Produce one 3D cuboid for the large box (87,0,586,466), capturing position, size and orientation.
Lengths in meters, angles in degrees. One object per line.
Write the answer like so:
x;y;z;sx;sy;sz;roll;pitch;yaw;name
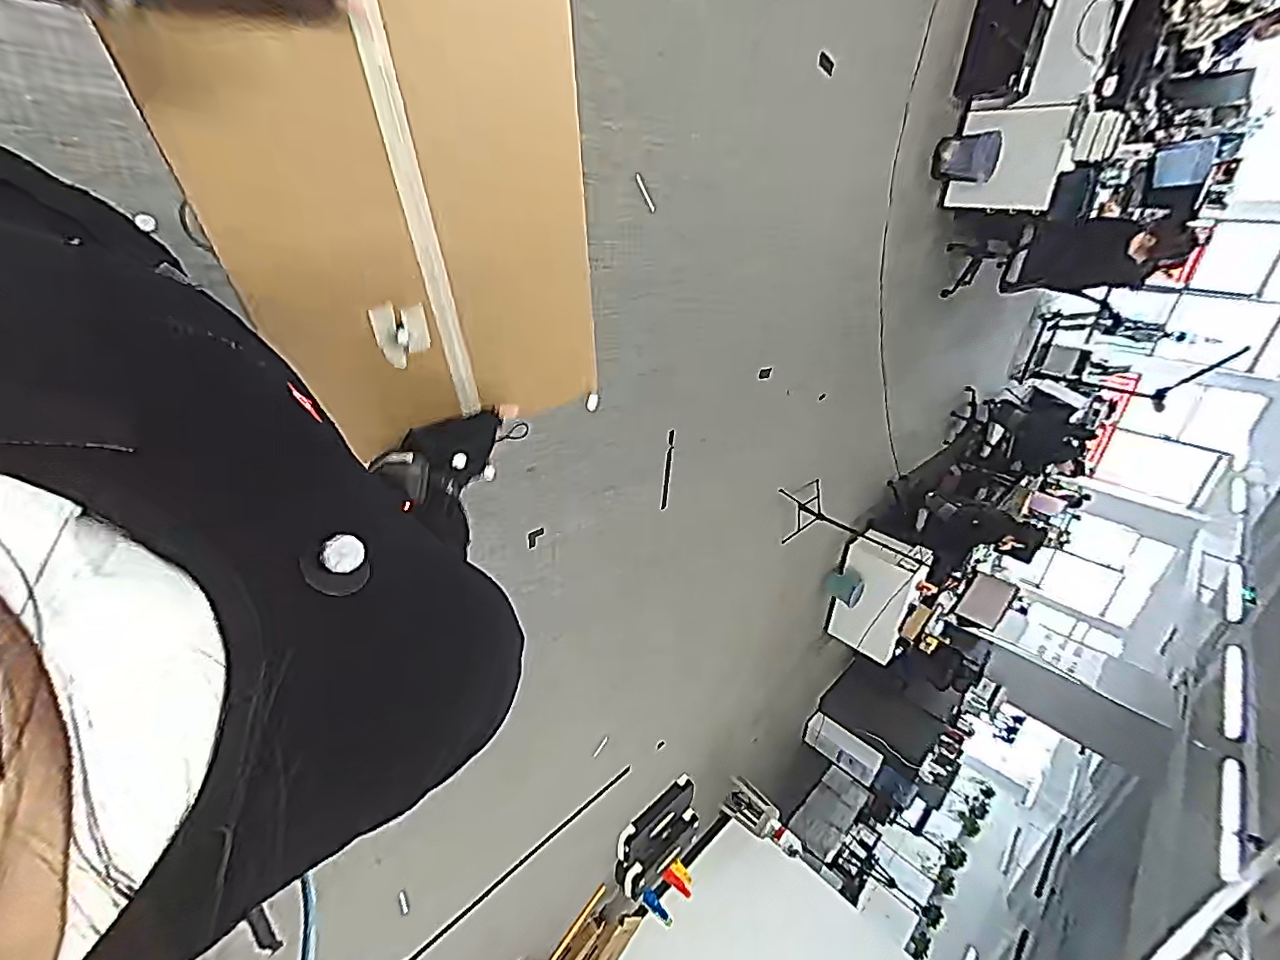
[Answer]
-0.276;-0.296;0.600;0.320;0.320;0.408;-20;136;-21;large box
